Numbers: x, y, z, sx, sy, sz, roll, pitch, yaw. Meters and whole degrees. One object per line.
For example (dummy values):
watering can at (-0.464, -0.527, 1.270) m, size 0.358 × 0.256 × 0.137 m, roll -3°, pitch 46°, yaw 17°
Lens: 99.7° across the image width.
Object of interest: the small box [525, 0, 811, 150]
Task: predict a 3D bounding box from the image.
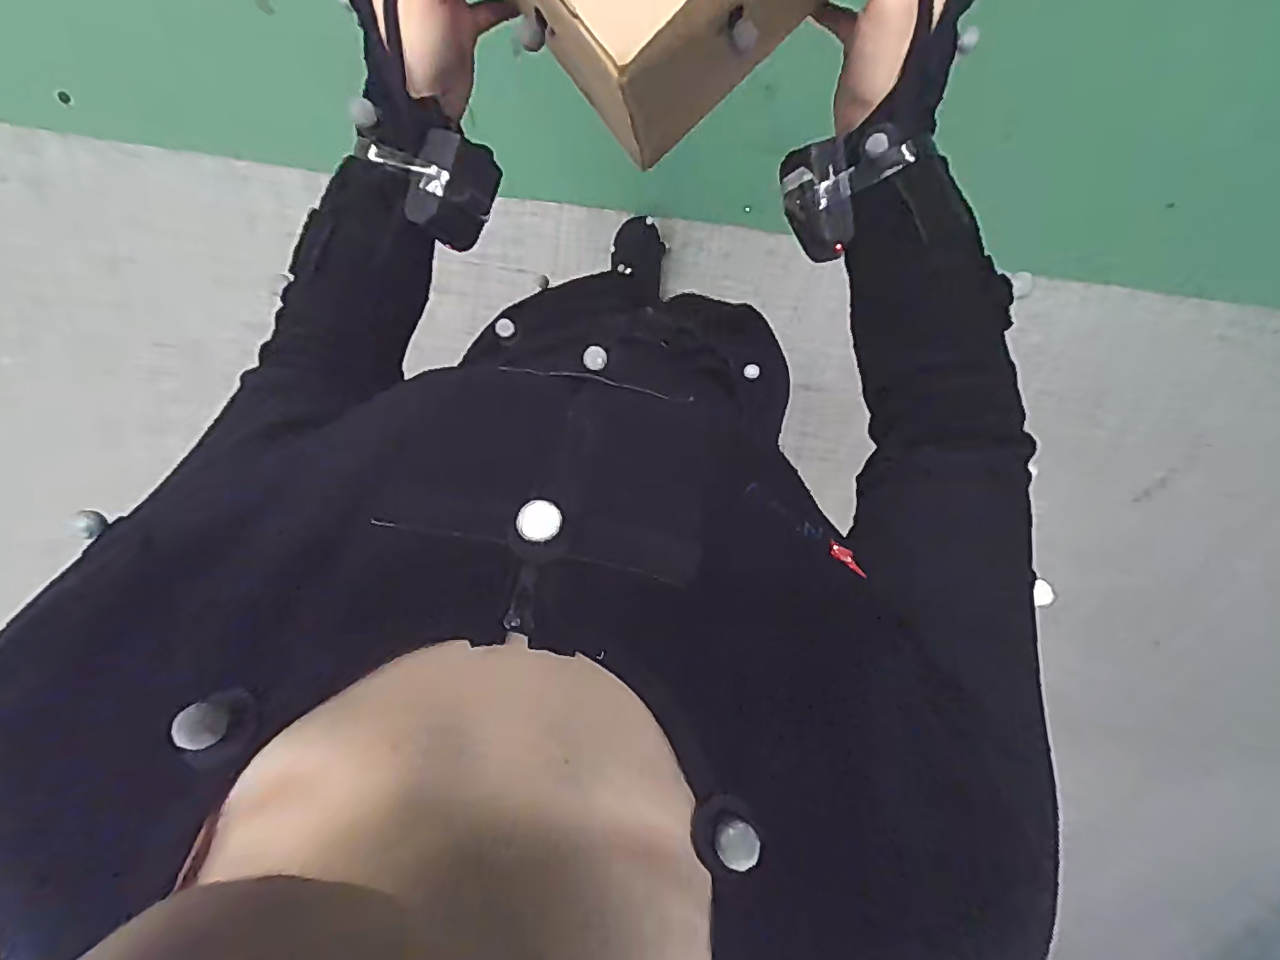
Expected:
small box at (0.010, -0.321, 0.288) m, size 0.179 × 0.176 × 0.168 m, roll -39°, pitch 100°, yaw 15°
